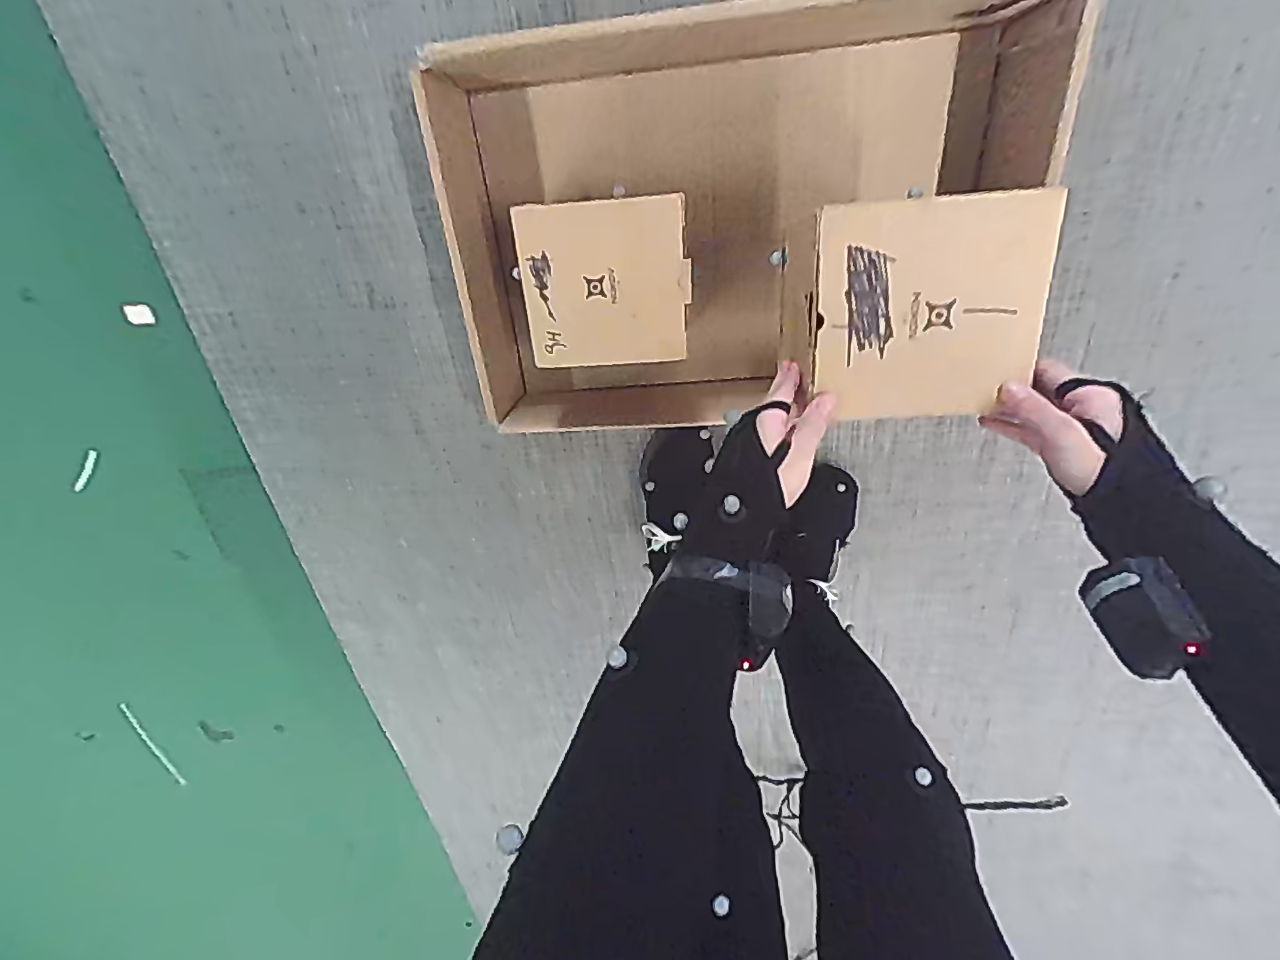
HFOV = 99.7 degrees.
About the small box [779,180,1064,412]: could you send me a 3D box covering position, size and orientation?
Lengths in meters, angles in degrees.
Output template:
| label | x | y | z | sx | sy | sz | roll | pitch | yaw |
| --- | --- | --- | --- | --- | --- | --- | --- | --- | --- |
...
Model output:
| label | x | y | z | sx | sy | sz | roll | pitch | yaw |
| --- | --- | --- | --- | --- | --- | --- | --- | --- | --- |
| small box | 0.227 | -0.163 | 0.493 | 0.179 | 0.176 | 0.168 | -3 | 111 | 5 |
